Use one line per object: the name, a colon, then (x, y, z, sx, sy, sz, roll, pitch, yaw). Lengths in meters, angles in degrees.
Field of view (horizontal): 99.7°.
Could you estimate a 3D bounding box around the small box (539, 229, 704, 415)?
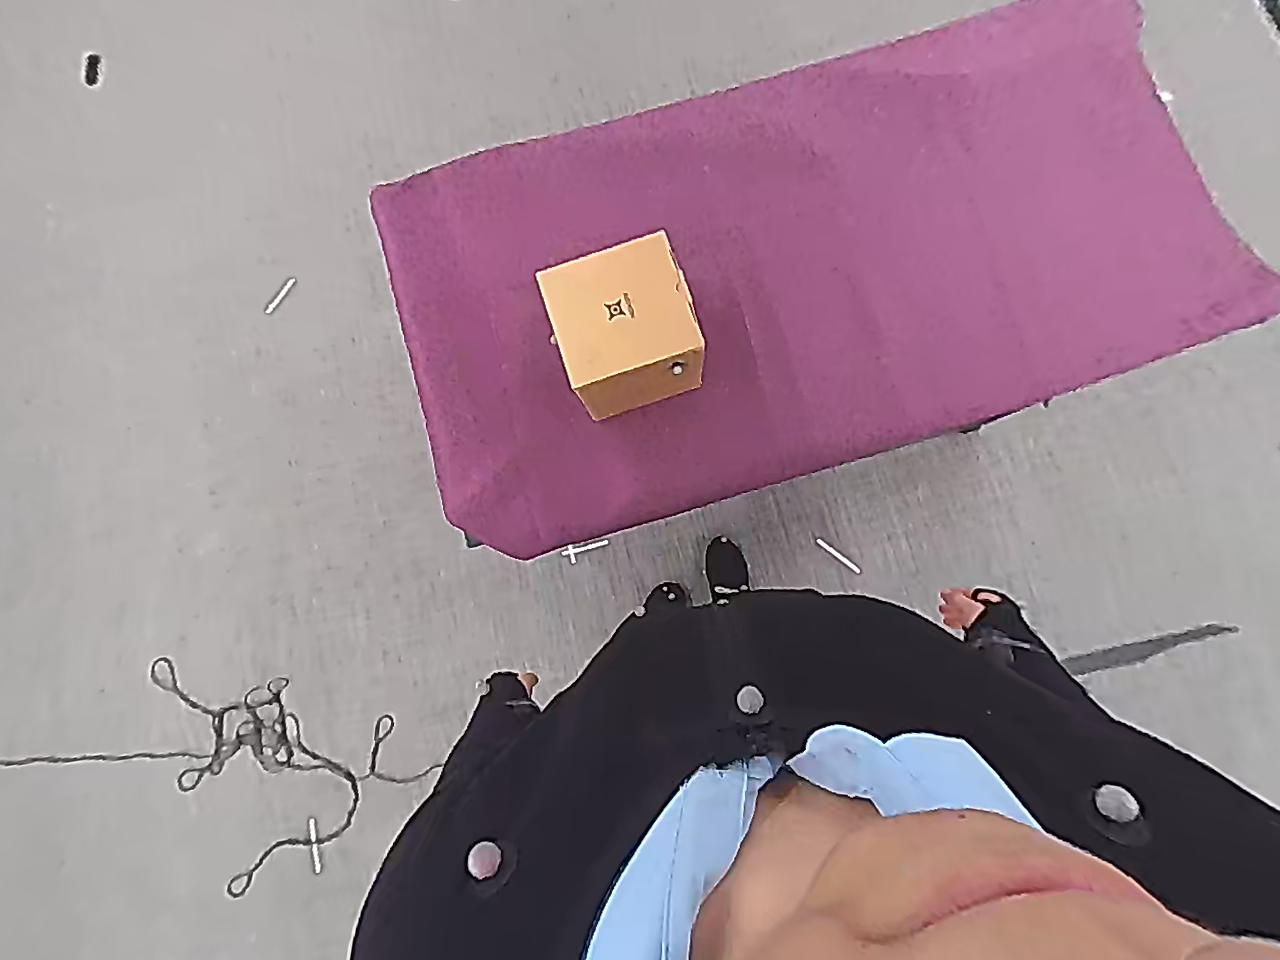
small box: (-0.019, -0.207, 0.758, 0.179, 0.176, 0.168, -19, 81, 1)
